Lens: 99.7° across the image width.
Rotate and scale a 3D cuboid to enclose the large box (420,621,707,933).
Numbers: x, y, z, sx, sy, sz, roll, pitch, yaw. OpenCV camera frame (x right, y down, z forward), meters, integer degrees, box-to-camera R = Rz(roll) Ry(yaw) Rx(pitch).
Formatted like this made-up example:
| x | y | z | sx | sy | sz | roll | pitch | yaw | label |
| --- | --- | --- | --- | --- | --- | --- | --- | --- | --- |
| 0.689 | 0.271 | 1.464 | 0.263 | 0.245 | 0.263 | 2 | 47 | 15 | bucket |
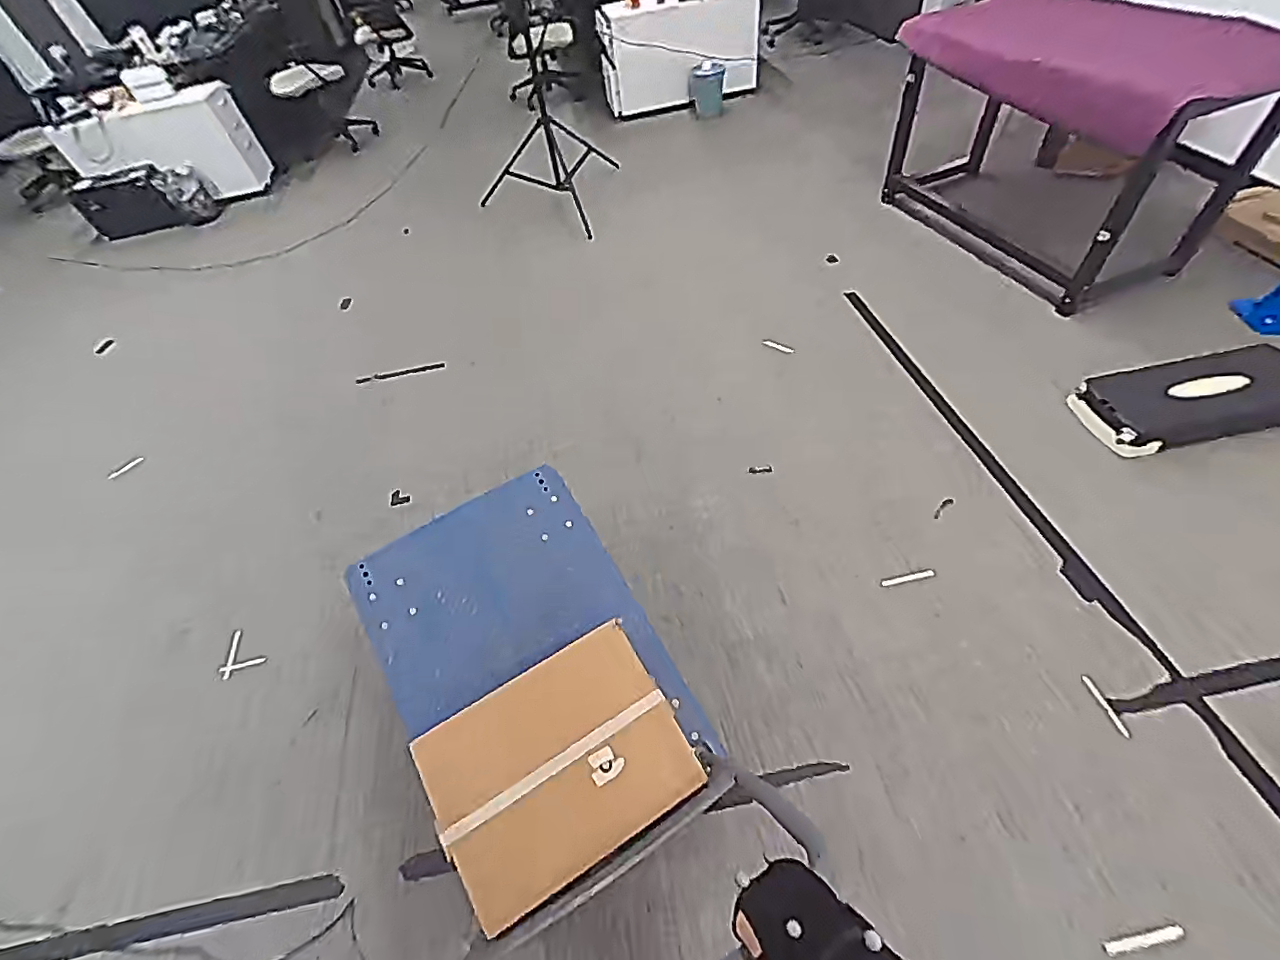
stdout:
| x | y | z | sx | sy | sz | roll | pitch | yaw | label |
| --- | --- | --- | --- | --- | --- | --- | --- | --- | --- |
| -0.137 | 0.541 | 1.052 | 0.408 | 0.320 | 0.320 | -29 | 70 | -15 | large box |
